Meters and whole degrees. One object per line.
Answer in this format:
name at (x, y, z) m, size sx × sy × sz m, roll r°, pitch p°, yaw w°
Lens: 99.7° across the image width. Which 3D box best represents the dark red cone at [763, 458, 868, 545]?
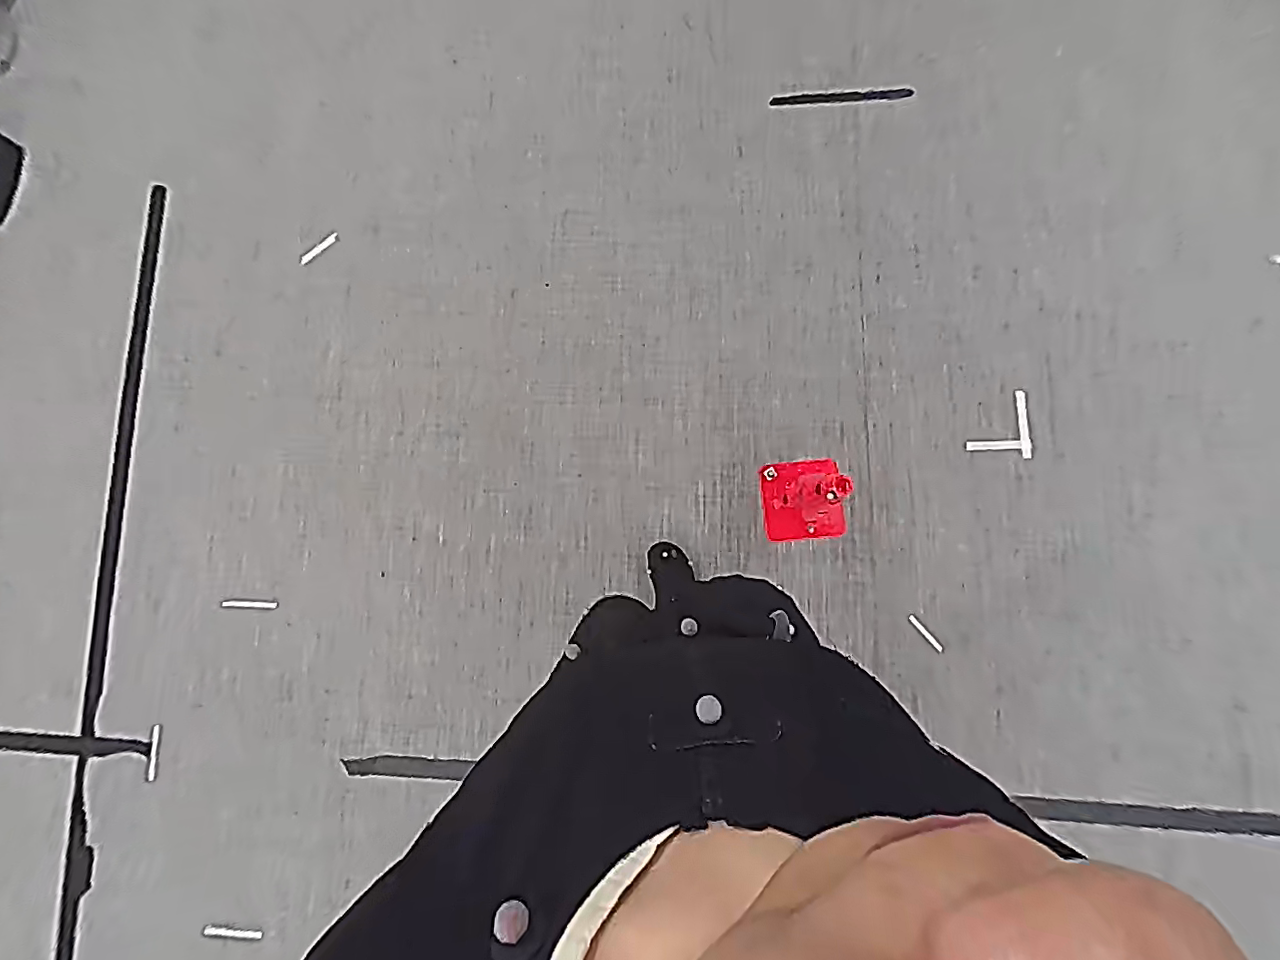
dark red cone at (0.398, 0.036, 1.161) m, size 0.202 × 0.394 × 0.201 m, roll -7°, pitch 84°, yaw 3°
